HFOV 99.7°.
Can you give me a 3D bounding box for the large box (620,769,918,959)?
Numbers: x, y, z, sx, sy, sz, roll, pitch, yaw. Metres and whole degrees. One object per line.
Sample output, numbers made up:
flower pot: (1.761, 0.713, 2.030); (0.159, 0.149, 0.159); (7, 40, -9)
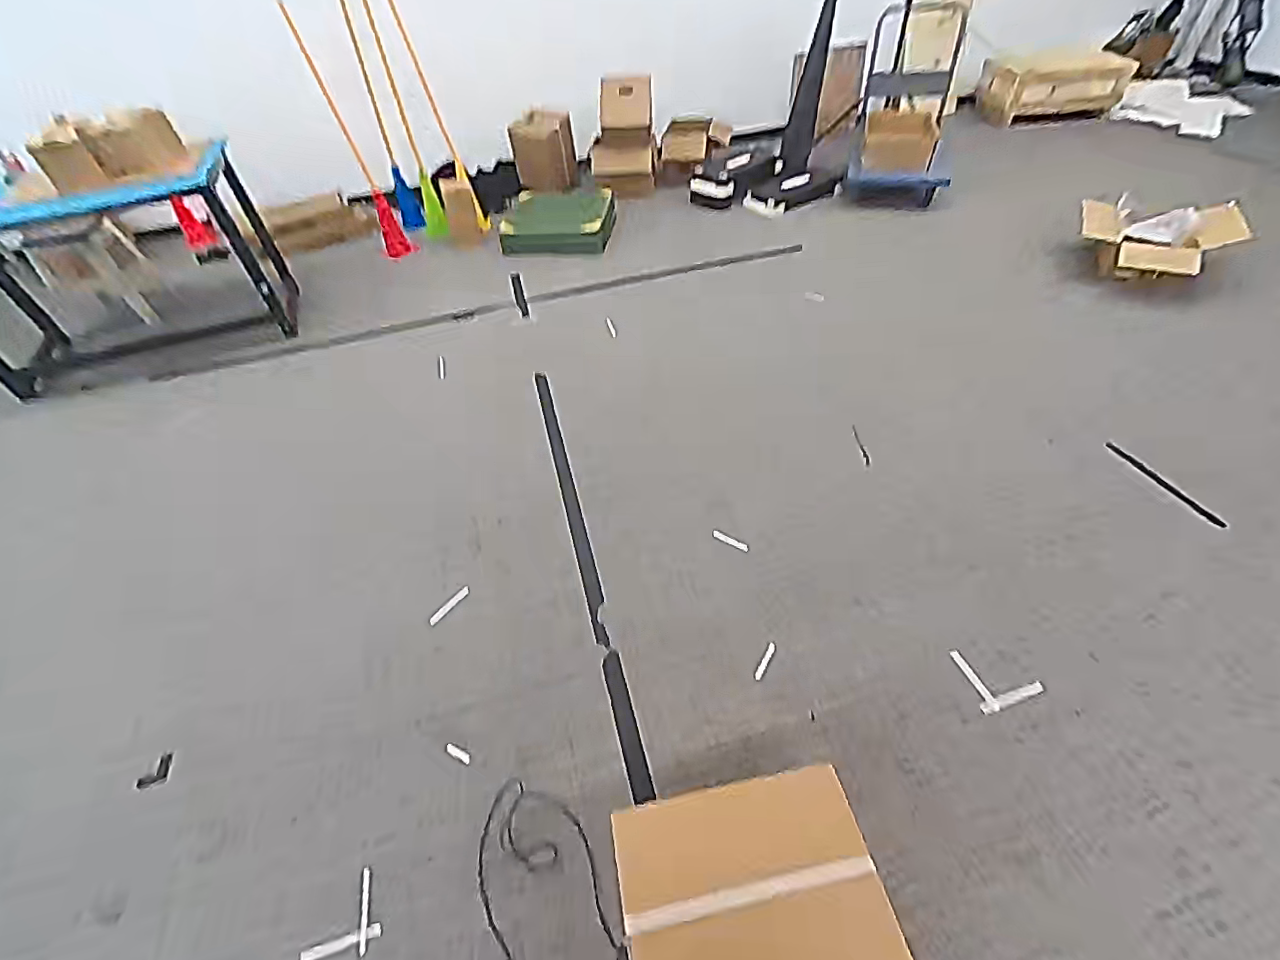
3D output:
large box: (0.195, 0.761, 0.945); (0.408, 0.320, 0.320); (-10, 46, -5)
